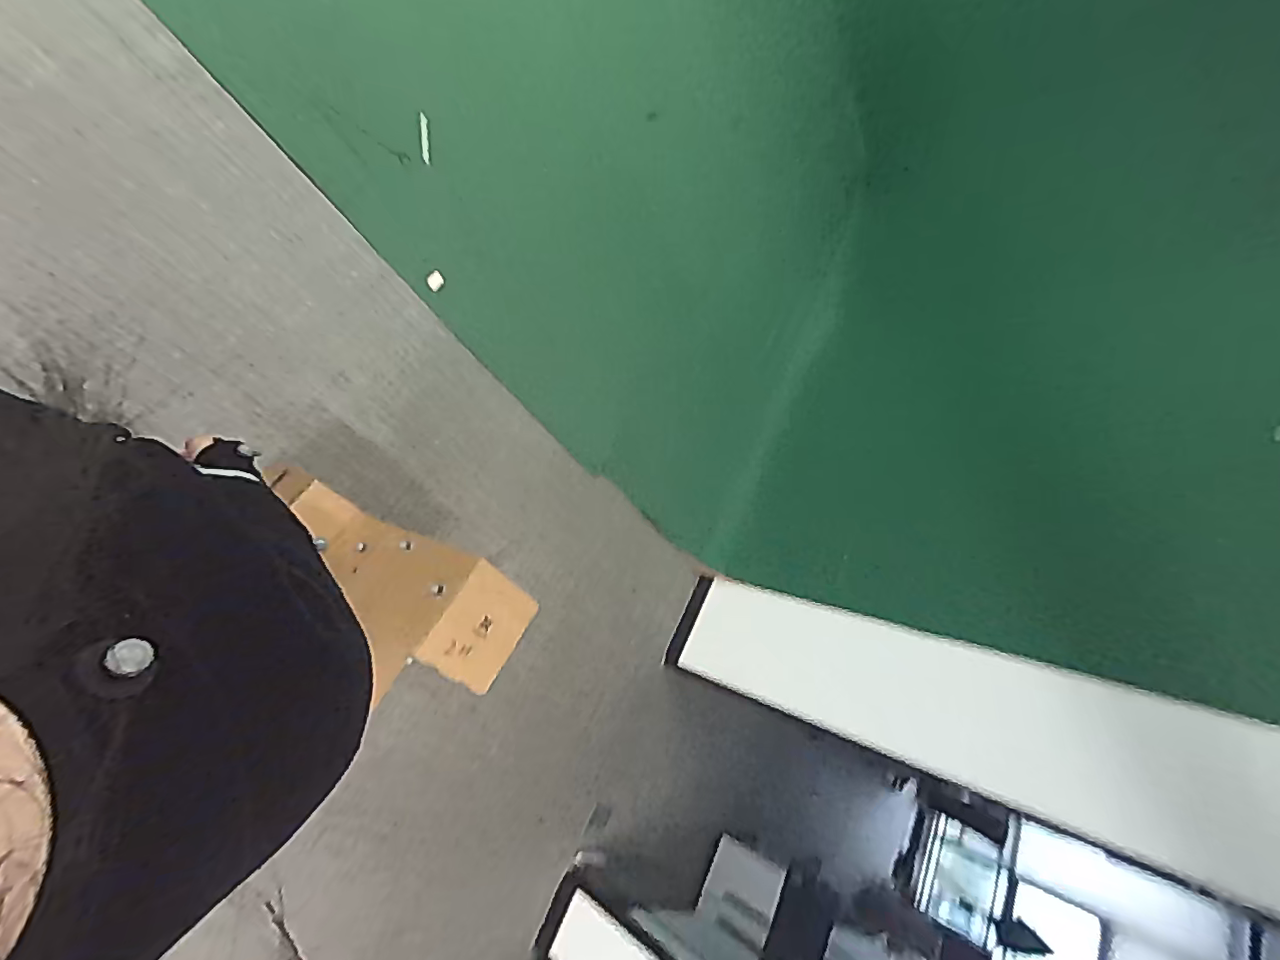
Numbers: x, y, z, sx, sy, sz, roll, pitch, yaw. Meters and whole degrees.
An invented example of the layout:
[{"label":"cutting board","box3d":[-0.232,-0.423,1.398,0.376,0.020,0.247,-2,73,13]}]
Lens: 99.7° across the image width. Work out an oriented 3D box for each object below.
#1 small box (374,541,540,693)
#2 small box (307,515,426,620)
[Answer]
[{"label":"small box","box3d":[-0.314,0.227,0.930,0.179,0.176,0.168,-58,135,-25]},{"label":"small box","box3d":[-0.557,0.193,1.152,0.168,0.176,0.179,-56,135,-27]}]
